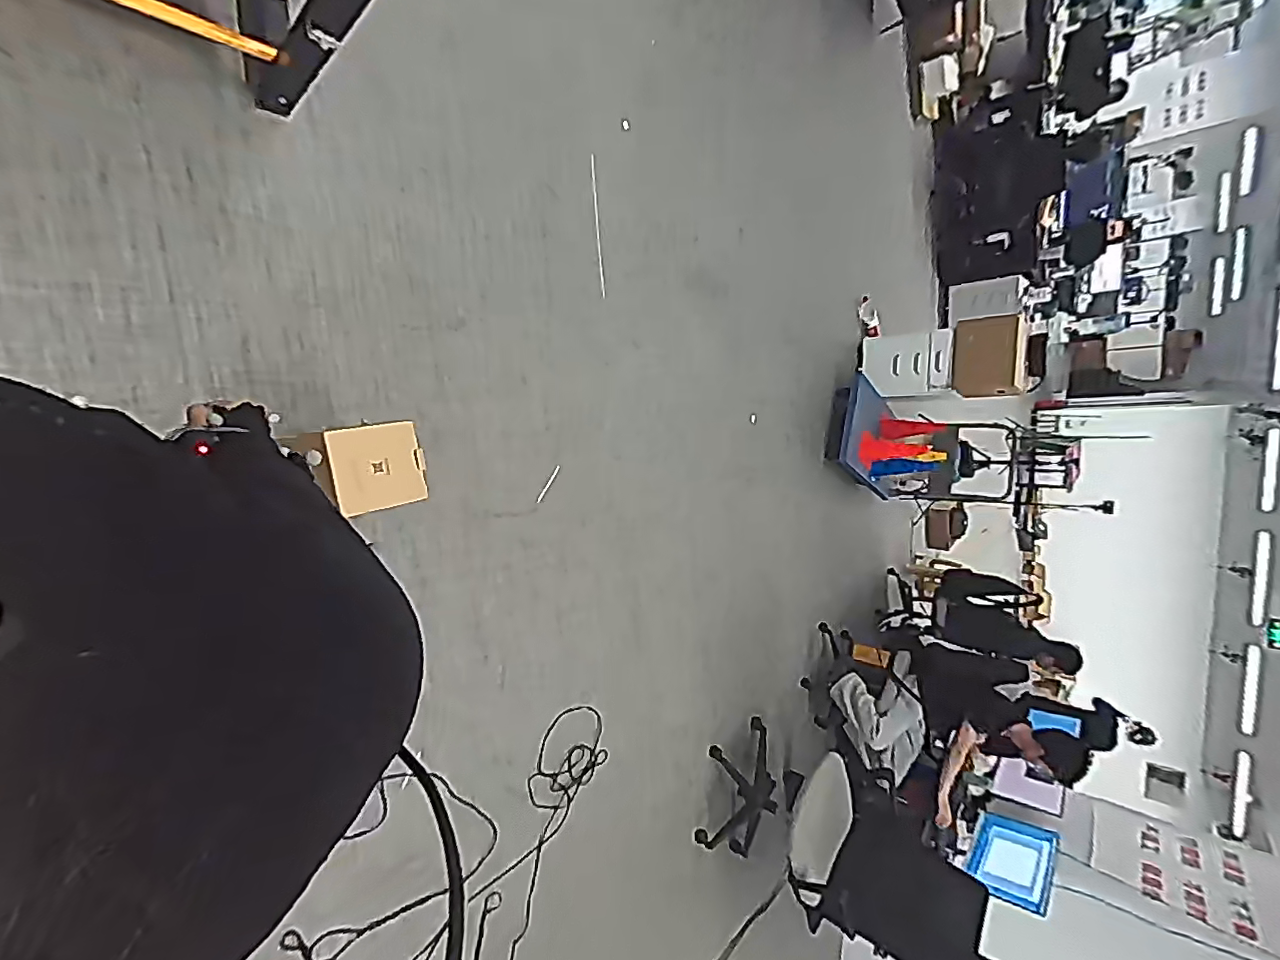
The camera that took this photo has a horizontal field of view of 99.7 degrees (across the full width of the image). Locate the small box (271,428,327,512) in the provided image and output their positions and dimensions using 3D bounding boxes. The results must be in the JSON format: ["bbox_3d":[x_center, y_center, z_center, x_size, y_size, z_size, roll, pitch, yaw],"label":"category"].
[{"bbox_3d":[-0.697,-0.034,1.210,0.168,0.176,0.179,-18,105,-46],"label":"small box"}]

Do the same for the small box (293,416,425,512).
[{"bbox_3d":[-0.572,-0.039,1.104,0.179,0.176,0.168,-18,105,-46],"label":"small box"}]
